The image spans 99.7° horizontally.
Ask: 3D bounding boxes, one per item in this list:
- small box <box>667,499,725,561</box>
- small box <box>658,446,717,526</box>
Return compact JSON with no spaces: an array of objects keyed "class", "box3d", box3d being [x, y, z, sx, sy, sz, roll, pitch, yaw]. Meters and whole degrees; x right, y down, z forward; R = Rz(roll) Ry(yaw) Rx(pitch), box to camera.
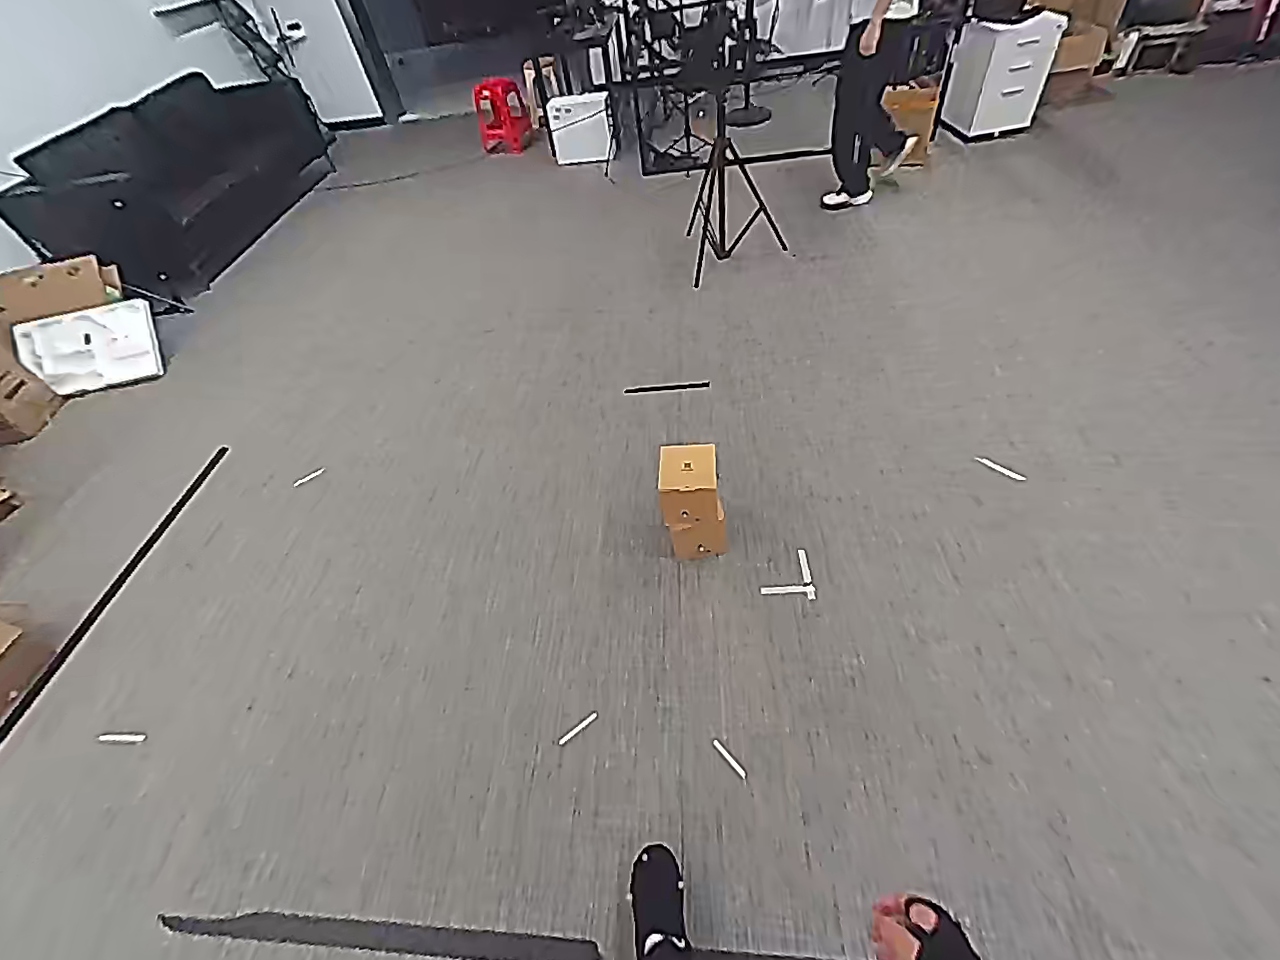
[{"class":"small box","box3d":[0.170,0.131,1.733,0.168,0.176,0.179,-12,48,0]},{"class":"small box","box3d":[0.144,0.019,1.617,0.168,0.176,0.179,-2,49,7]}]
